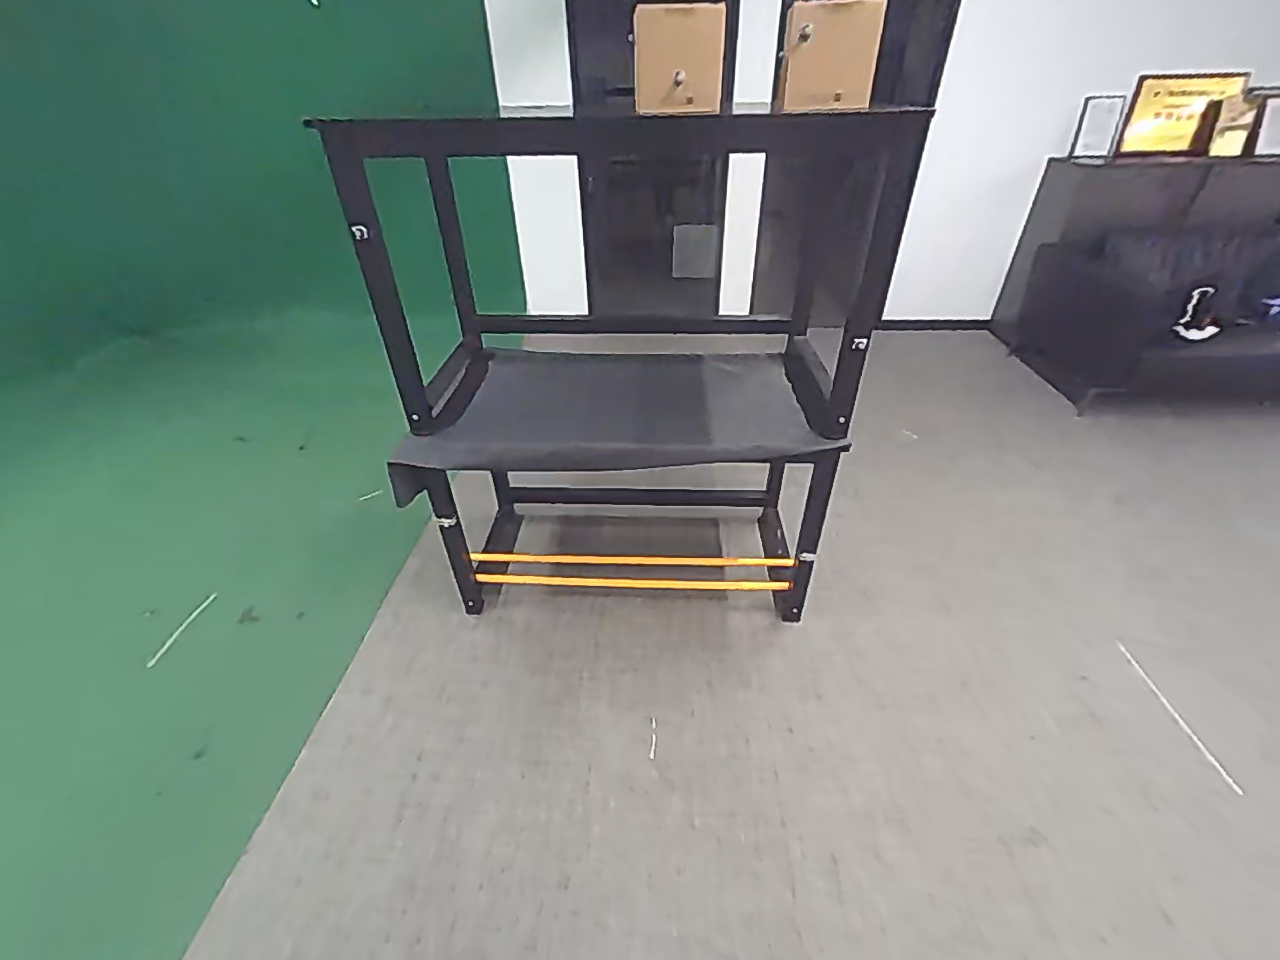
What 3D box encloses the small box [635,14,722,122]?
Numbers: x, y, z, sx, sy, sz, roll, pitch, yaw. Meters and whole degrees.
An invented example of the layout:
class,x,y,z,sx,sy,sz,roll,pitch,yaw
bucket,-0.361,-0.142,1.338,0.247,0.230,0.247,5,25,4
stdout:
class,x,y,z,sx,sy,sz,roll,pitch,yaw
small box,0.072,-0.852,1.129,0.168,0.176,0.179,-3,36,-1
